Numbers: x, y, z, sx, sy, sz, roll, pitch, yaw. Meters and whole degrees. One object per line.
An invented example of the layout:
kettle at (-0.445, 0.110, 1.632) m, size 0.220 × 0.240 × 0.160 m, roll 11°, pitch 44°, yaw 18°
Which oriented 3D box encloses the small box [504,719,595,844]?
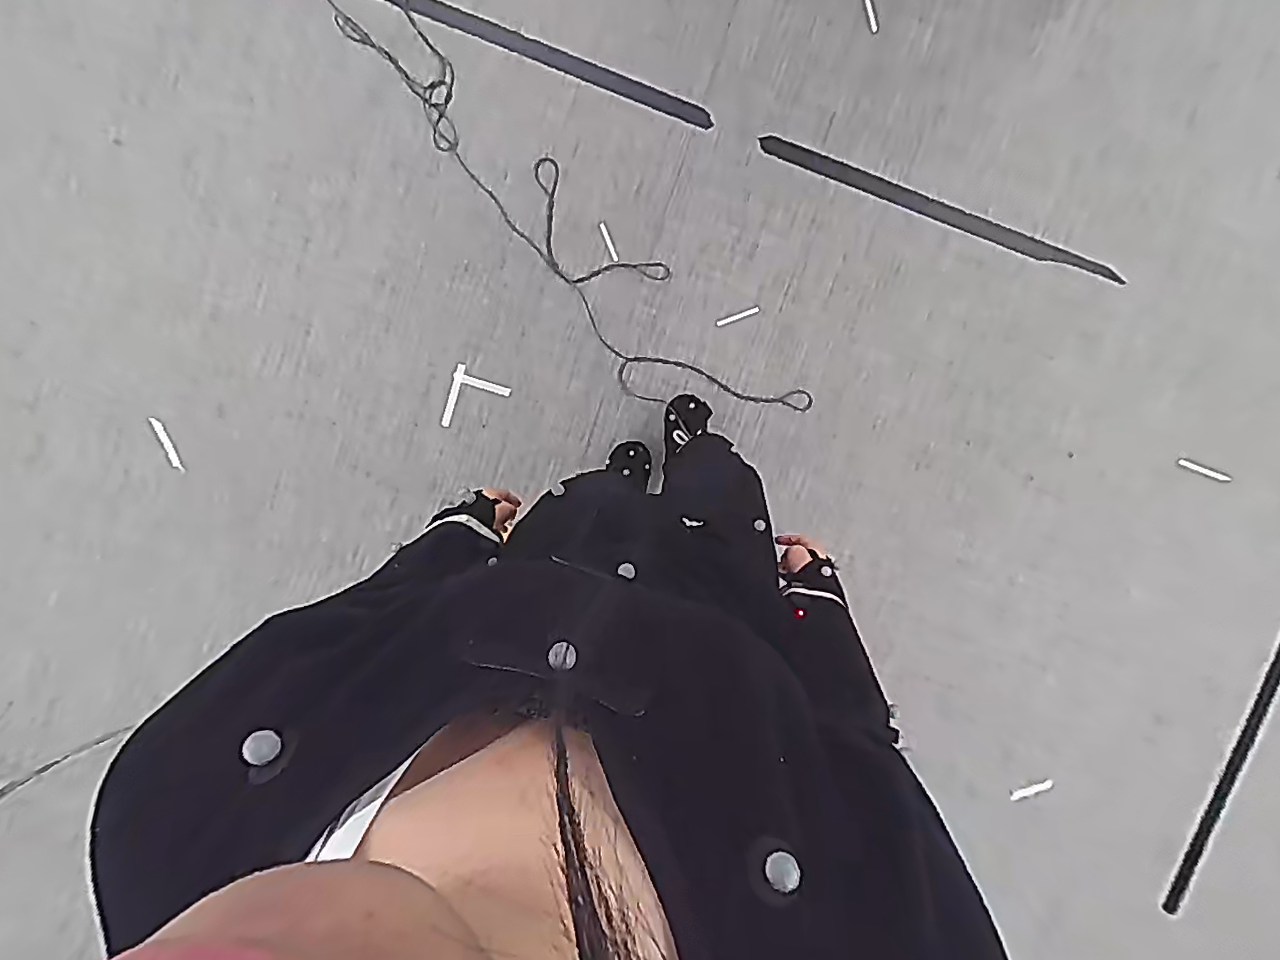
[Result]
small box at (-0.204, 0.698, 1.267) m, size 0.168 × 0.176 × 0.179 m, roll 14°, pitch 94°, yaw -3°

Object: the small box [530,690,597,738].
small box at (-0.210, 0.683, 1.431) m, size 0.168 × 0.176 × 0.179 m, roll 13°, pitch 93°, yaw -2°
